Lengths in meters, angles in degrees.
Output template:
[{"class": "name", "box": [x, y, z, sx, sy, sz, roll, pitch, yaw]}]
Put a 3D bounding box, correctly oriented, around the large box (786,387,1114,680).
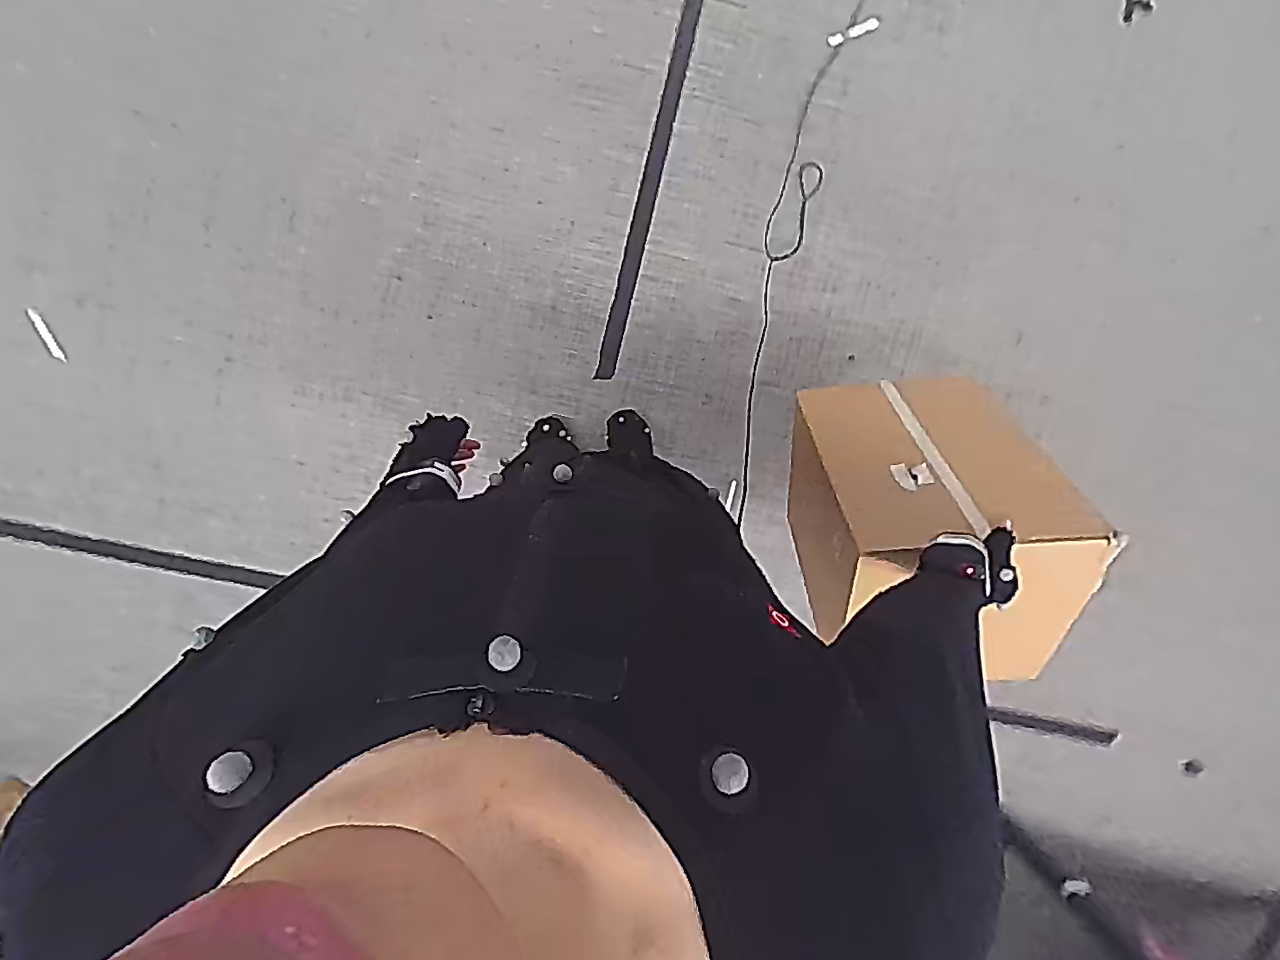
[{"class": "large box", "box": [0.454, 0.080, 0.927, 0.320, 0.408, 0.320, -3, 130, 5]}]
